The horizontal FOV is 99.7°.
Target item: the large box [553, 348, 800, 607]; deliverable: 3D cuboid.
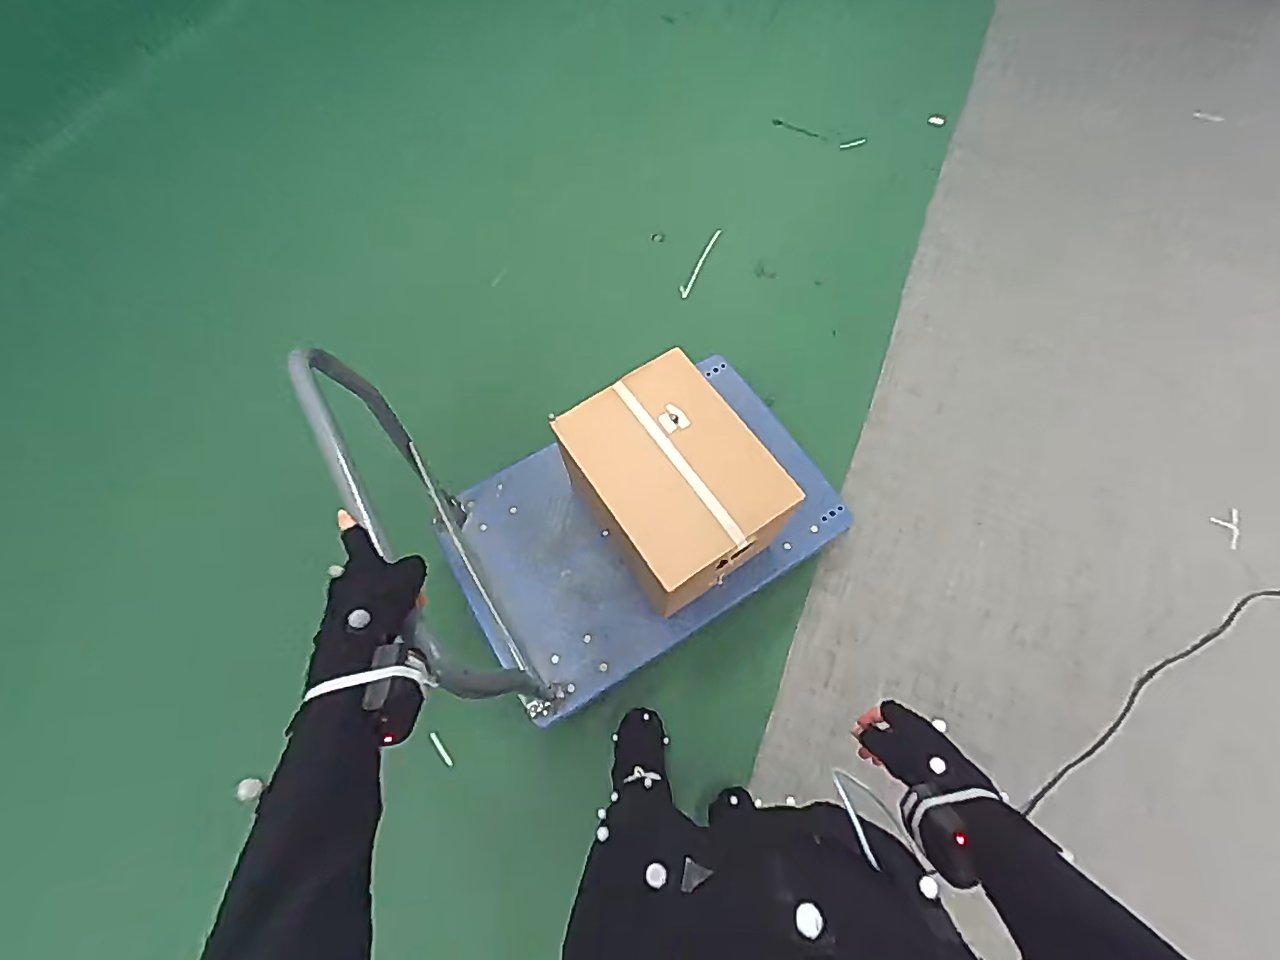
[{"bbox_3d":[0.069,0.008,1.172,0.320,0.320,0.408,-33,70,-12],"label":"large box"}]
